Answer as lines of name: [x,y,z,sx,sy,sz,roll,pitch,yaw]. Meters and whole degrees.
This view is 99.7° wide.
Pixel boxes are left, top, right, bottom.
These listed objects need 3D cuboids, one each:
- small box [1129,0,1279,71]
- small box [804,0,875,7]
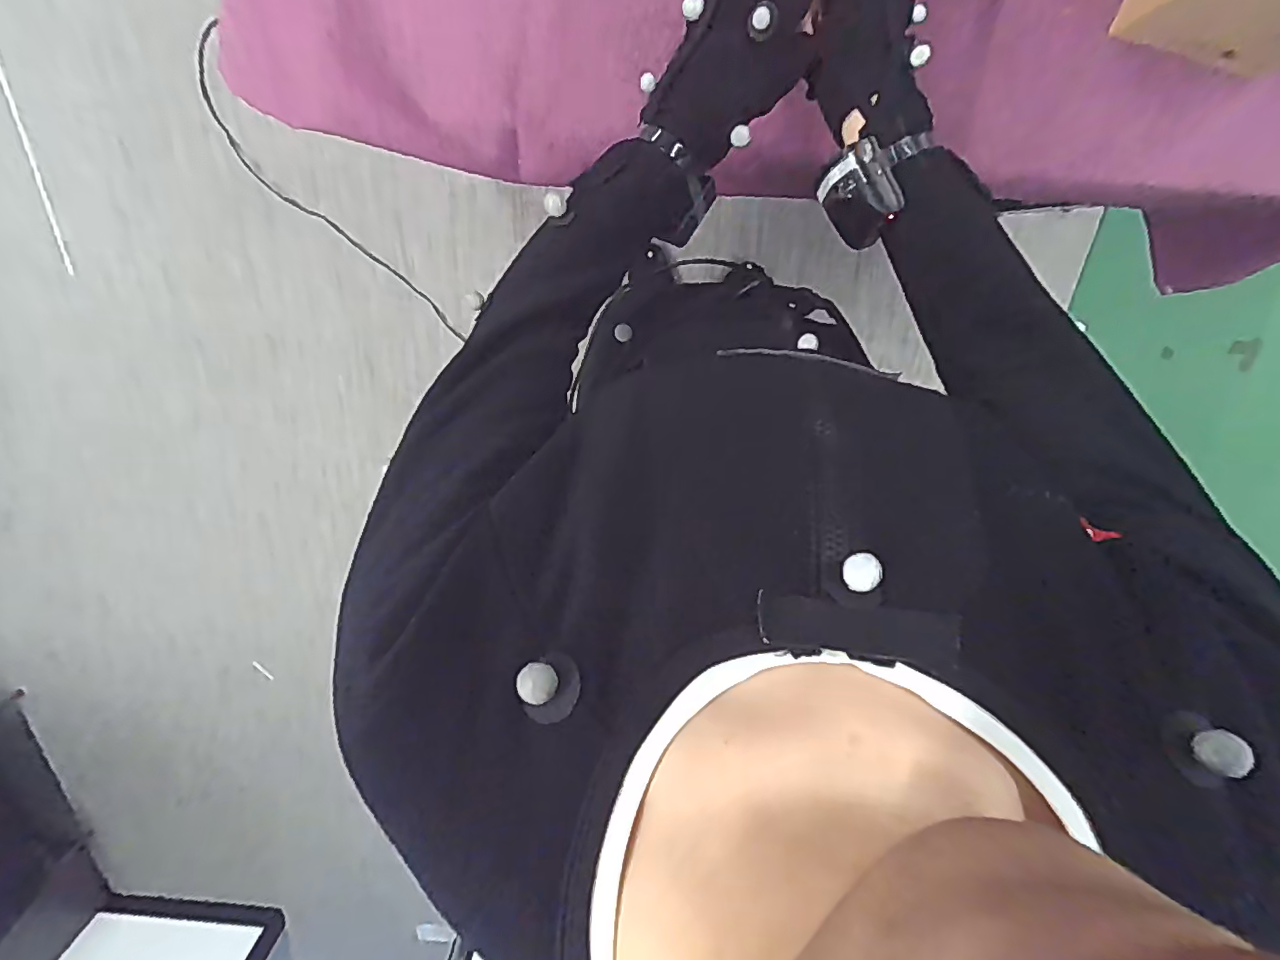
small box: [0.553,-0.463,0.426,0.168,0.176,0.179,15,113,-3]
small box: [0.152,-0.514,0.429,0.168,0.176,0.179,4,114,2]
